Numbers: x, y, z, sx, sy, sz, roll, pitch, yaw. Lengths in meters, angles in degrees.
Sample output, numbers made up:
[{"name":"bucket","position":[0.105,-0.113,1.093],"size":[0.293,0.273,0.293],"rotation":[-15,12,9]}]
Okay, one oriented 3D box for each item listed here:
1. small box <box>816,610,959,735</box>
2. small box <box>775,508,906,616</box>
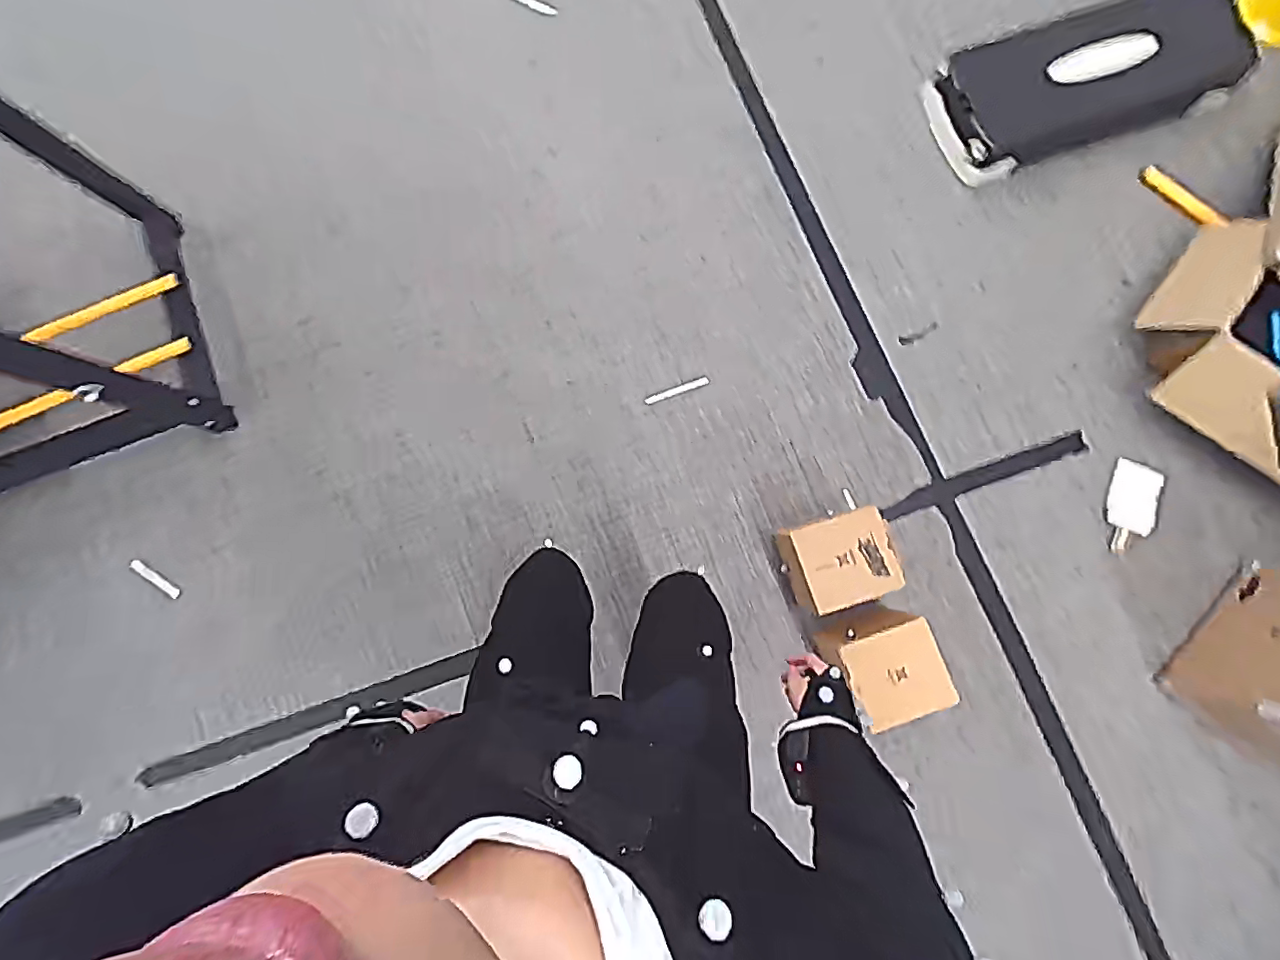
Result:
[{"name":"small box","position":[0.480,0.370,1.075],"size":[0.179,0.176,0.168],"rotation":[-20,84,0]},{"name":"small box","position":[0.396,0.160,1.098],"size":[0.179,0.176,0.168],"rotation":[-18,83,1]}]
